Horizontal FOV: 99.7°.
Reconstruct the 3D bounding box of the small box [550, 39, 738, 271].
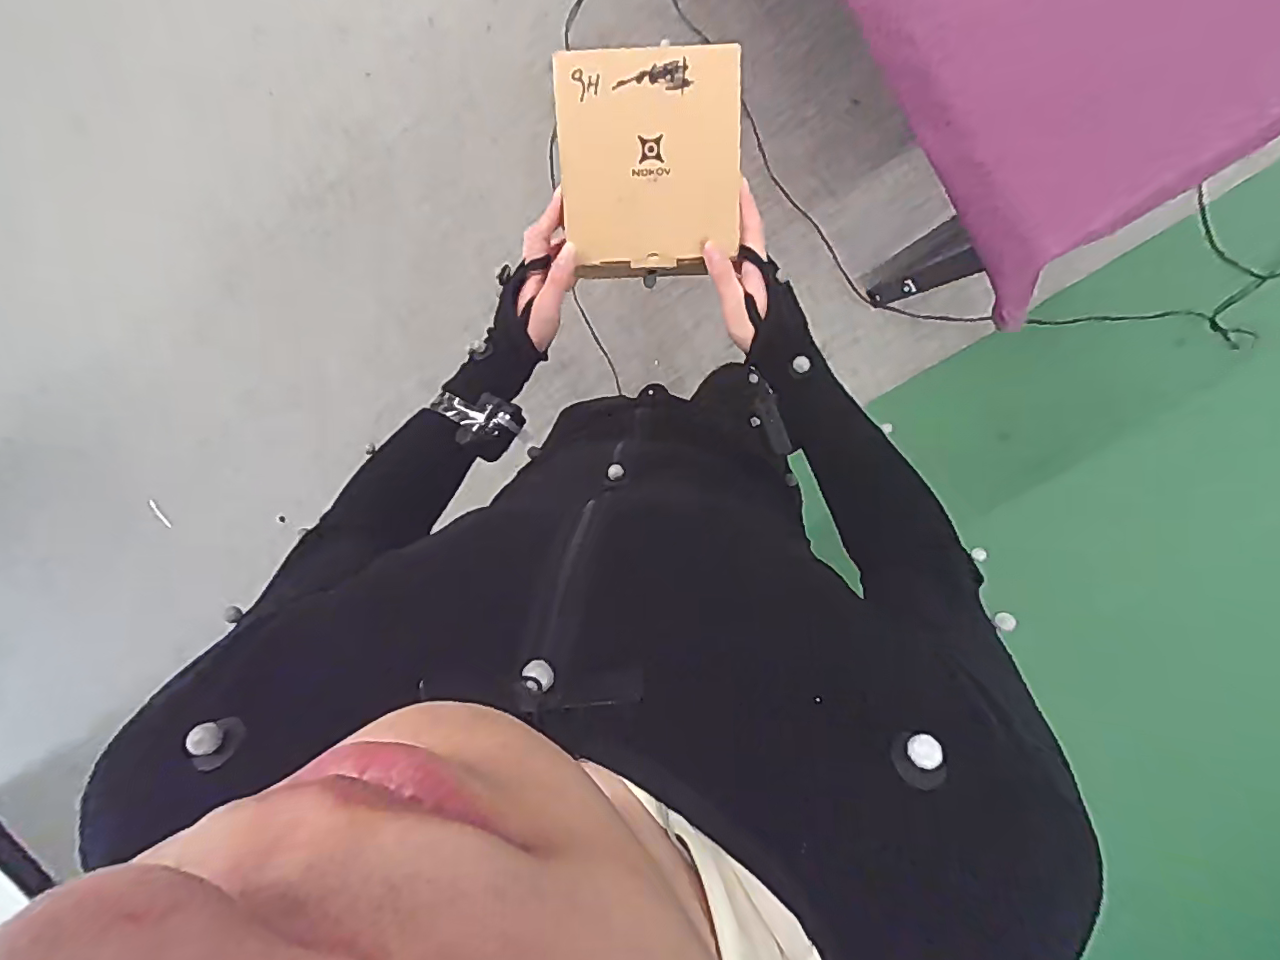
[{"bbox_3d":[0.006,-0.316,0.565,0.168,0.176,0.179,-3,107,0],"label":"small box"}]
